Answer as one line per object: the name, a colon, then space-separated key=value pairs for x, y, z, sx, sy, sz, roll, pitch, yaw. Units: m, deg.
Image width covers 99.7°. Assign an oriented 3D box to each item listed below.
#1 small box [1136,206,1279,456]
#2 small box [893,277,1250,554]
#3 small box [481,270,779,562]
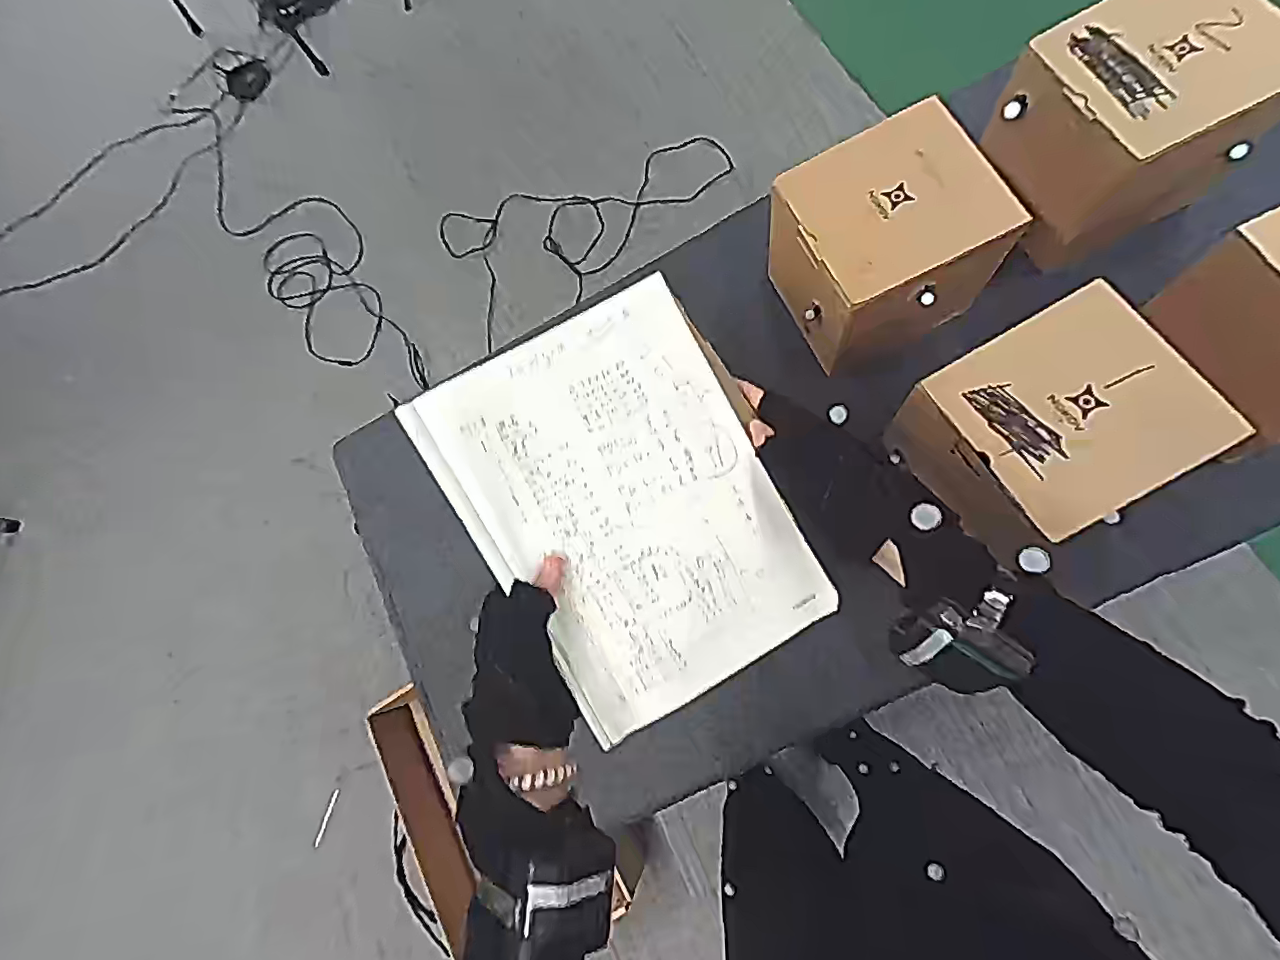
small box: x=0.607 y=-0.146 z=0.487 sx=0.168 sy=0.176 sz=0.179 roll=-24 pitch=73 yaw=6
small box: x=0.367 y=-0.044 z=0.512 sx=0.179 sy=0.176 sz=0.168 roll=-30 pitch=73 yaw=3
small box: x=-0.005 y=-0.038 z=0.478 sx=0.179 sy=0.176 sz=0.168 roll=-29 pitch=78 yaw=-3
